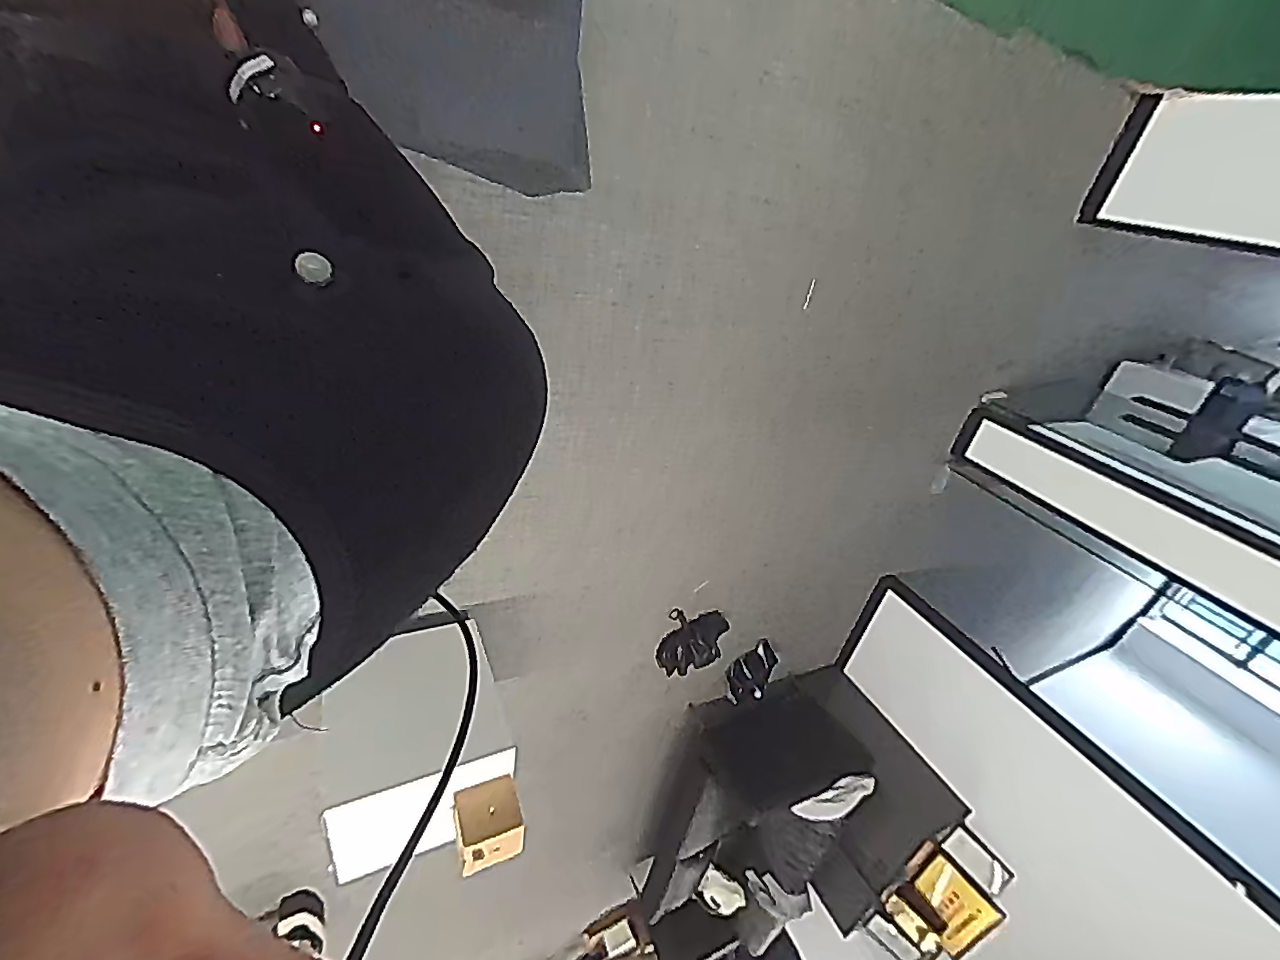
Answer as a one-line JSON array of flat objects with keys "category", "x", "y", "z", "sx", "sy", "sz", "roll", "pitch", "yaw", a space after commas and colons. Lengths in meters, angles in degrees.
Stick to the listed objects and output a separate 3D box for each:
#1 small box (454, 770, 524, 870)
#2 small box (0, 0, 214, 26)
[{"category": "small box", "x": -0.463, "y": 1.024, "z": 1.639, "sx": 0.179, "sy": 0.176, "sz": 0.168, "roll": -7, "pitch": 126, "yaw": -28}, {"category": "small box", "x": -0.402, "y": -0.413, "z": 0.327, "sx": 0.179, "sy": 0.176, "sz": 0.168, "roll": -13, "pitch": 114, "yaw": -24}]
